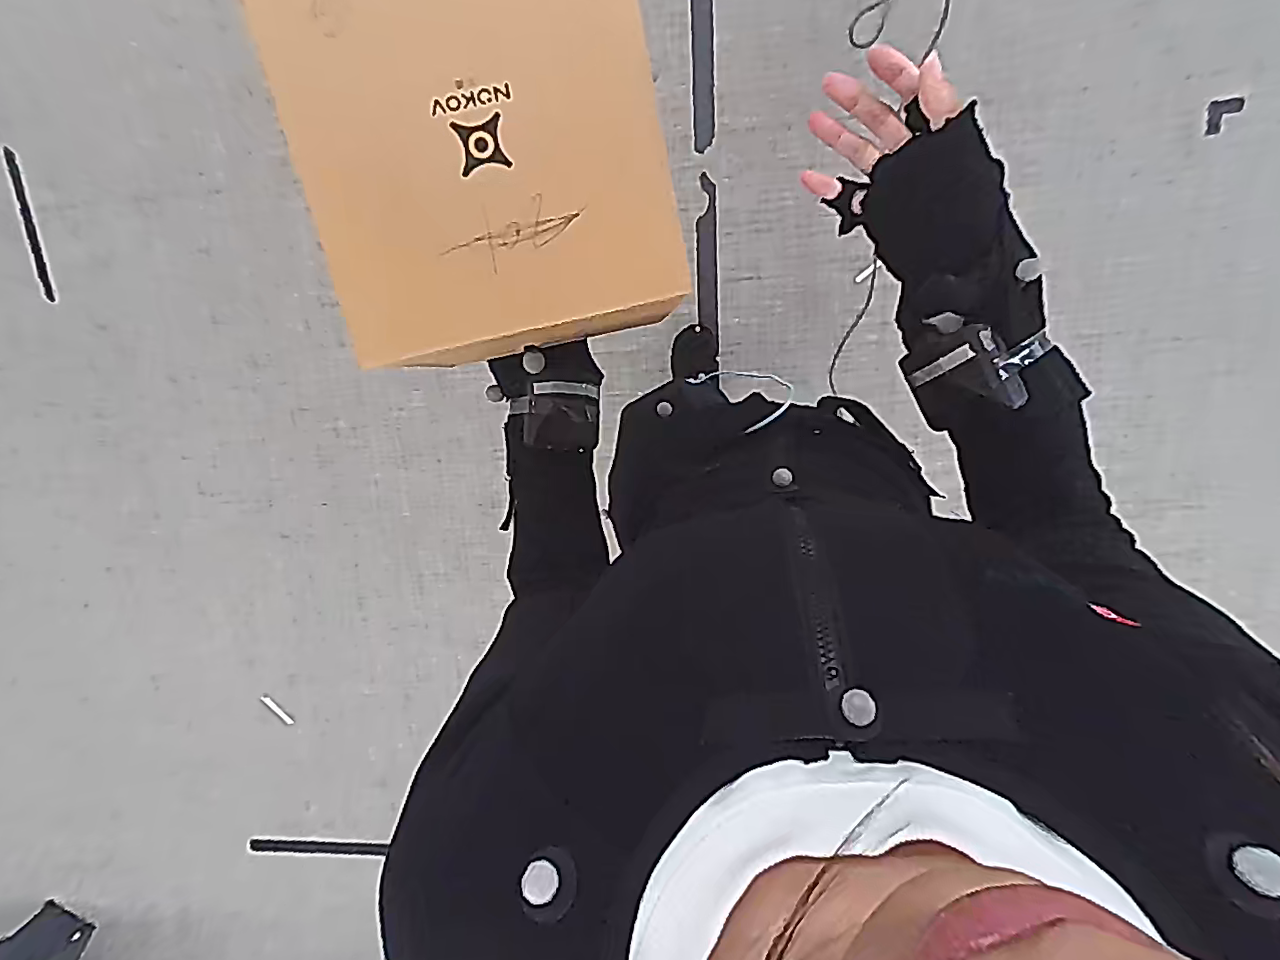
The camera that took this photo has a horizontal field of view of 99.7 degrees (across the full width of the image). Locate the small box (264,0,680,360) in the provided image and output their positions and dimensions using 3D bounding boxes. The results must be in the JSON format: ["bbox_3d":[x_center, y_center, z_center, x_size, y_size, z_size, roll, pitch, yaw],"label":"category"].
[{"bbox_3d":[-0.080,-0.178,0.336,0.168,0.176,0.179,-12,102,0],"label":"small box"}]
